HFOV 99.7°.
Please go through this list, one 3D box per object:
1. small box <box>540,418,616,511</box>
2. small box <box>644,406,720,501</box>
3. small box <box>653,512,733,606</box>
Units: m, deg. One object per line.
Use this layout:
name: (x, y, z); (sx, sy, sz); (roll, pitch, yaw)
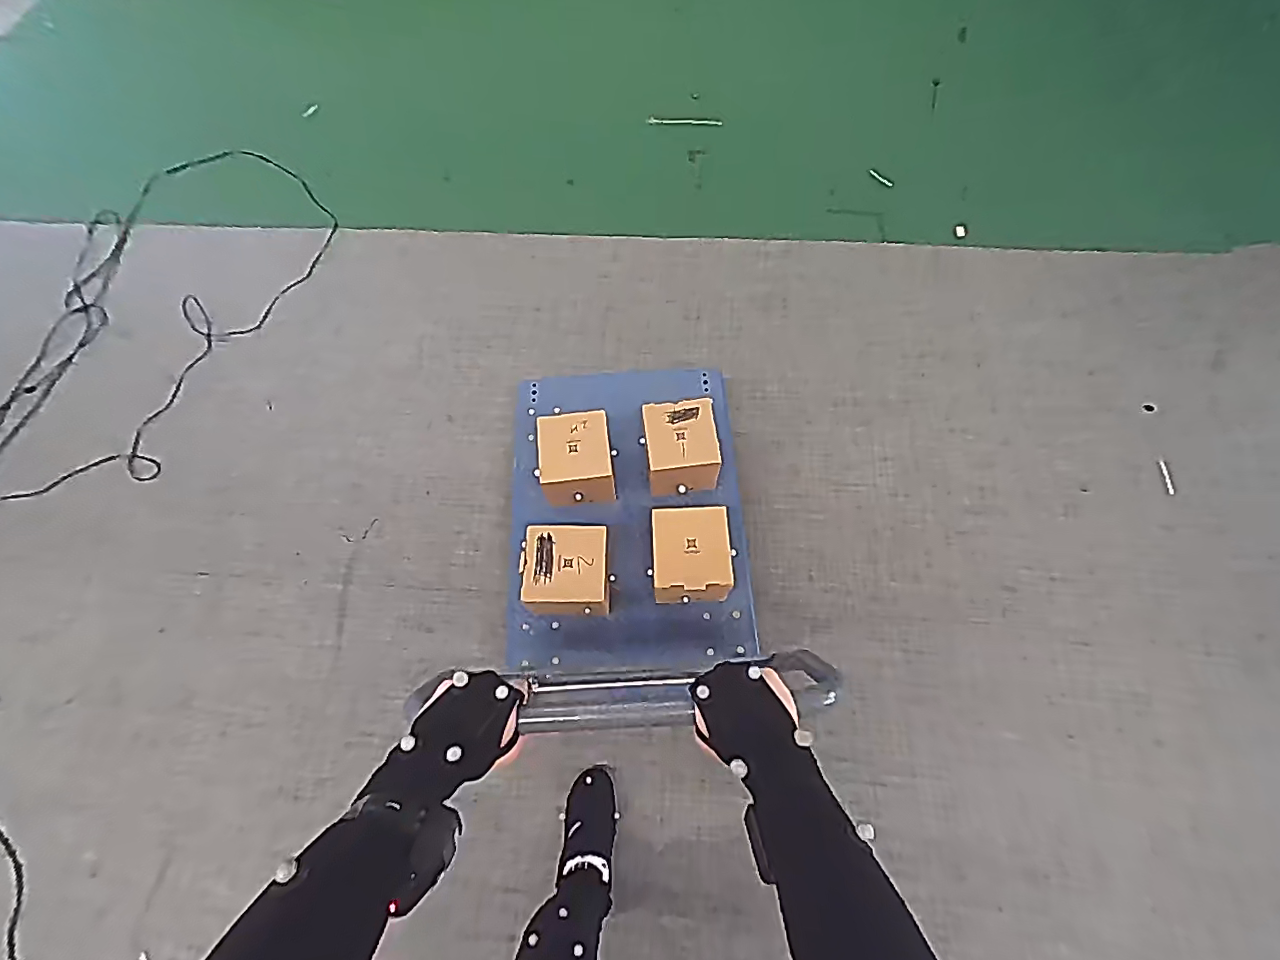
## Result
small box: (-0.151, -0.031, 1.346); (0.168, 0.176, 0.179); (-6, 66, -2)
small box: (0.099, -0.062, 1.352); (0.168, 0.176, 0.179); (-7, 67, -1)
small box: (0.114, 0.185, 1.244); (0.168, 0.176, 0.179); (-3, 67, 0)
